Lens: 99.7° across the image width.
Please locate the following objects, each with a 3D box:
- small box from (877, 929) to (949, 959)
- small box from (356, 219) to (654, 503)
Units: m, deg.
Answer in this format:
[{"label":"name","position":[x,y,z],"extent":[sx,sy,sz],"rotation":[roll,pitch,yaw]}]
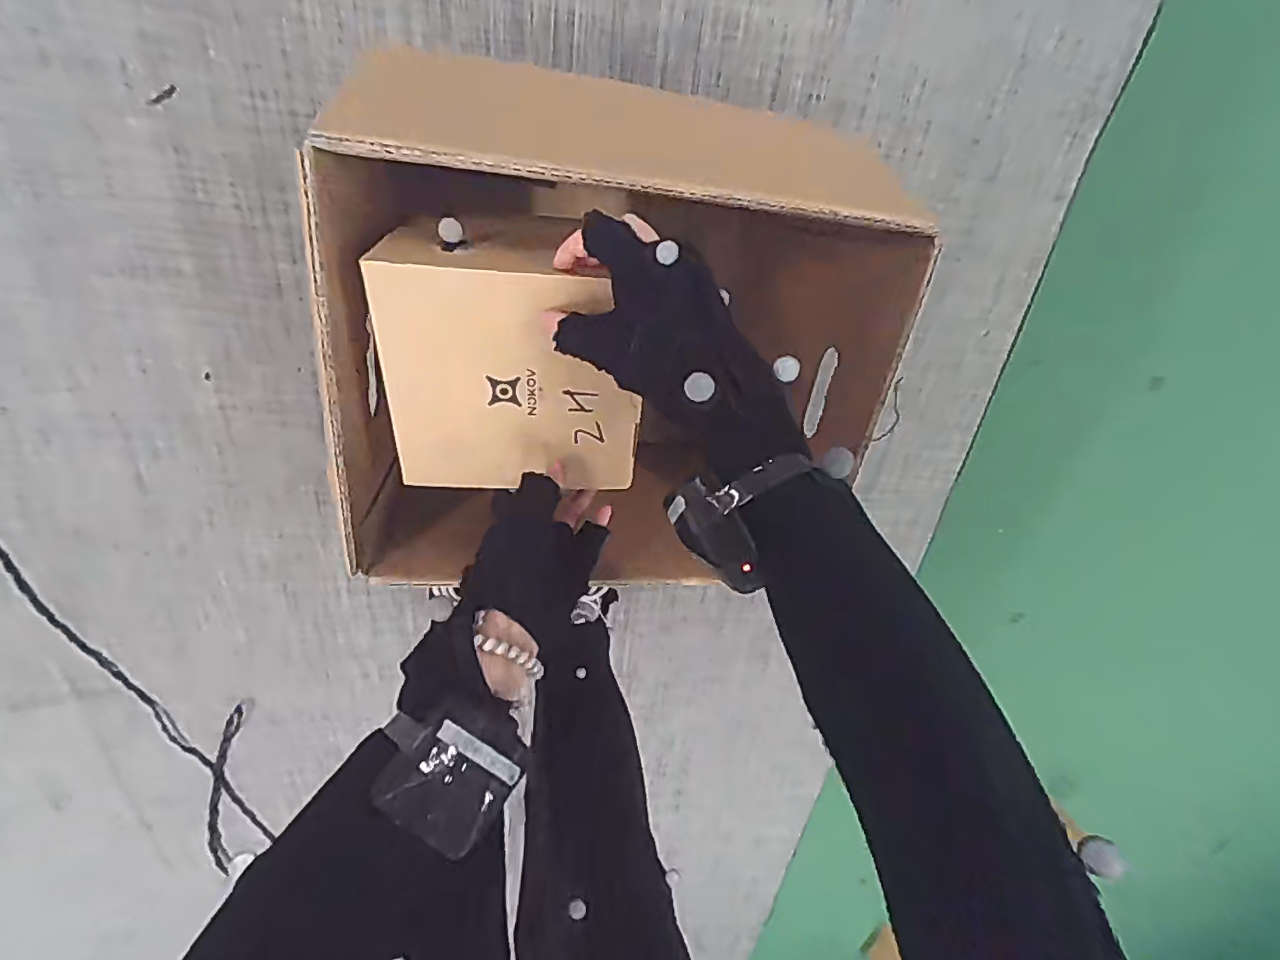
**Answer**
[{"label":"small box","position":[0.872,1.549,1.687],"extent":[0.168,0.176,0.179],"rotation":[2,117,-12]},{"label":"small box","position":[-0.092,-0.099,0.428],"extent":[0.179,0.176,0.168],"rotation":[1,127,-8]}]
